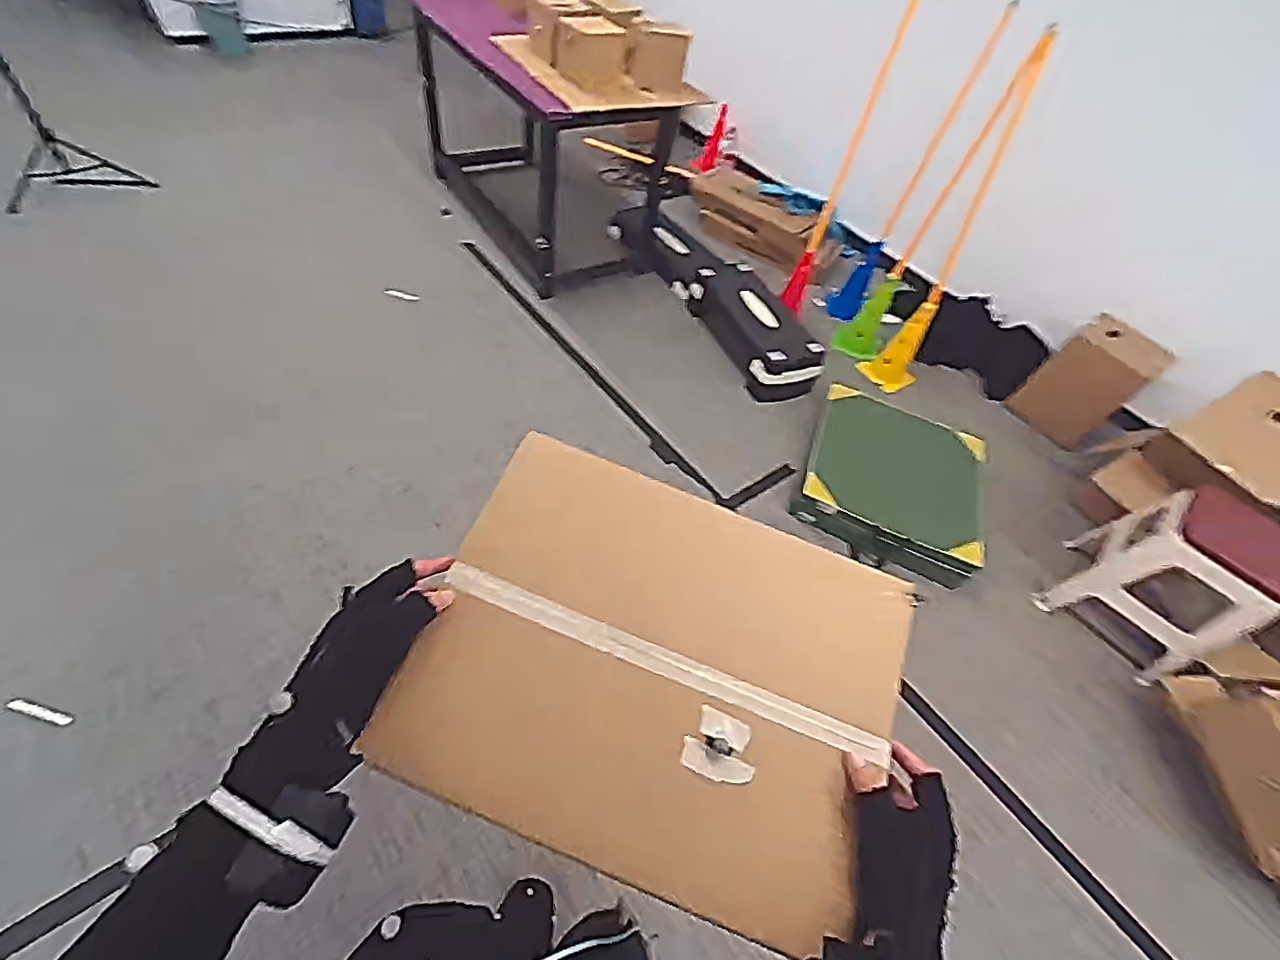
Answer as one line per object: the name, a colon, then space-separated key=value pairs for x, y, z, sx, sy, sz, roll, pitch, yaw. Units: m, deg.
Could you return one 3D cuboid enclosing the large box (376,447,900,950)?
large box: x=0.004 y=0.222 z=0.620 sx=0.408 sy=0.320 sz=0.320 roll=23 pitch=67 yaw=3
